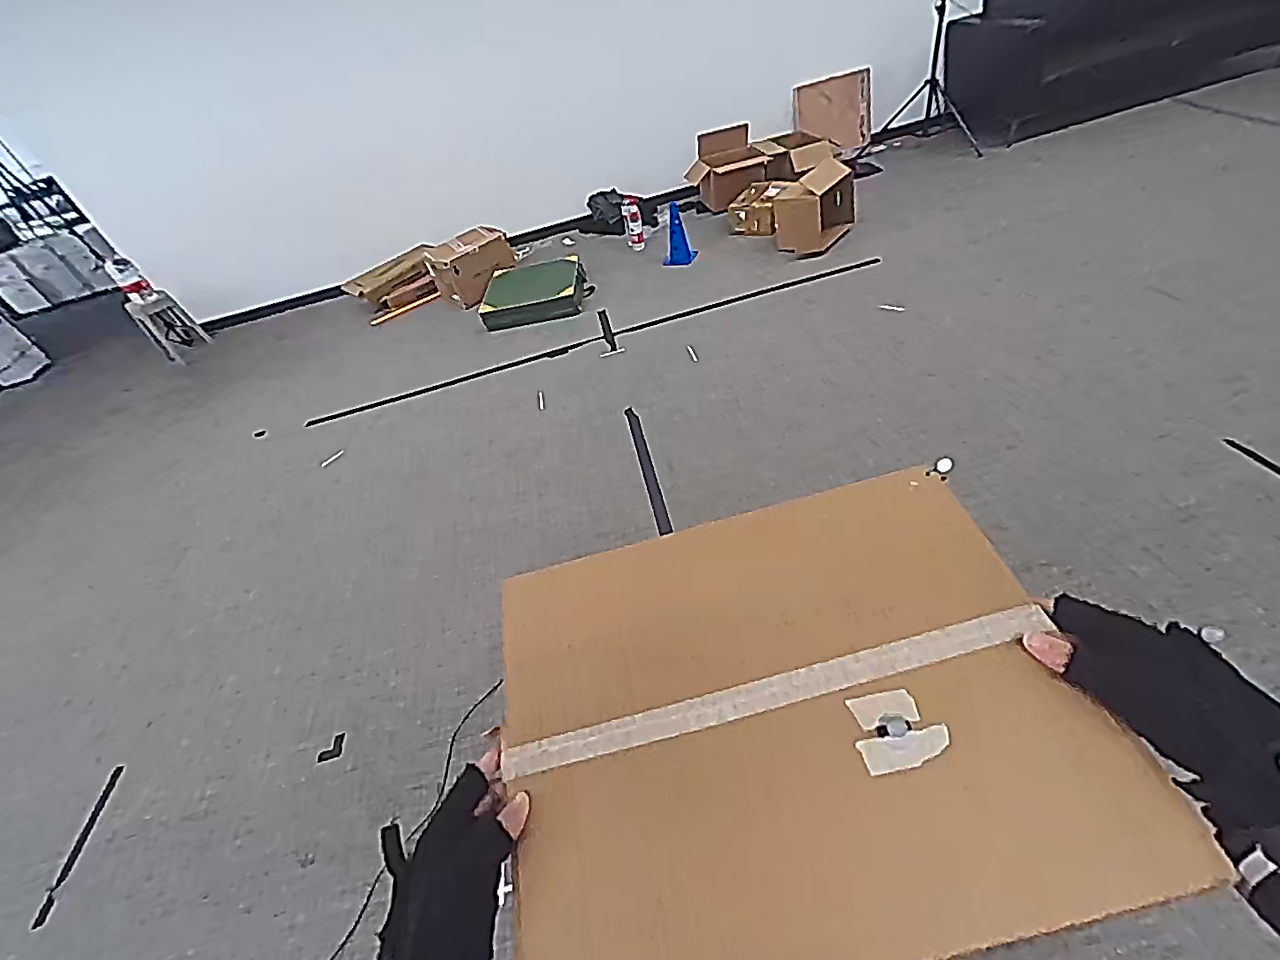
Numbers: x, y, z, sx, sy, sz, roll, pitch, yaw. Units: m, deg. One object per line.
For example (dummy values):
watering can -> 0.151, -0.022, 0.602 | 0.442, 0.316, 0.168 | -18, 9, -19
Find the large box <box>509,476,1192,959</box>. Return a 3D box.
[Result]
large box -> 0.125, 0.255, 0.519 | 0.408, 0.320, 0.320 | -16, 50, 0
